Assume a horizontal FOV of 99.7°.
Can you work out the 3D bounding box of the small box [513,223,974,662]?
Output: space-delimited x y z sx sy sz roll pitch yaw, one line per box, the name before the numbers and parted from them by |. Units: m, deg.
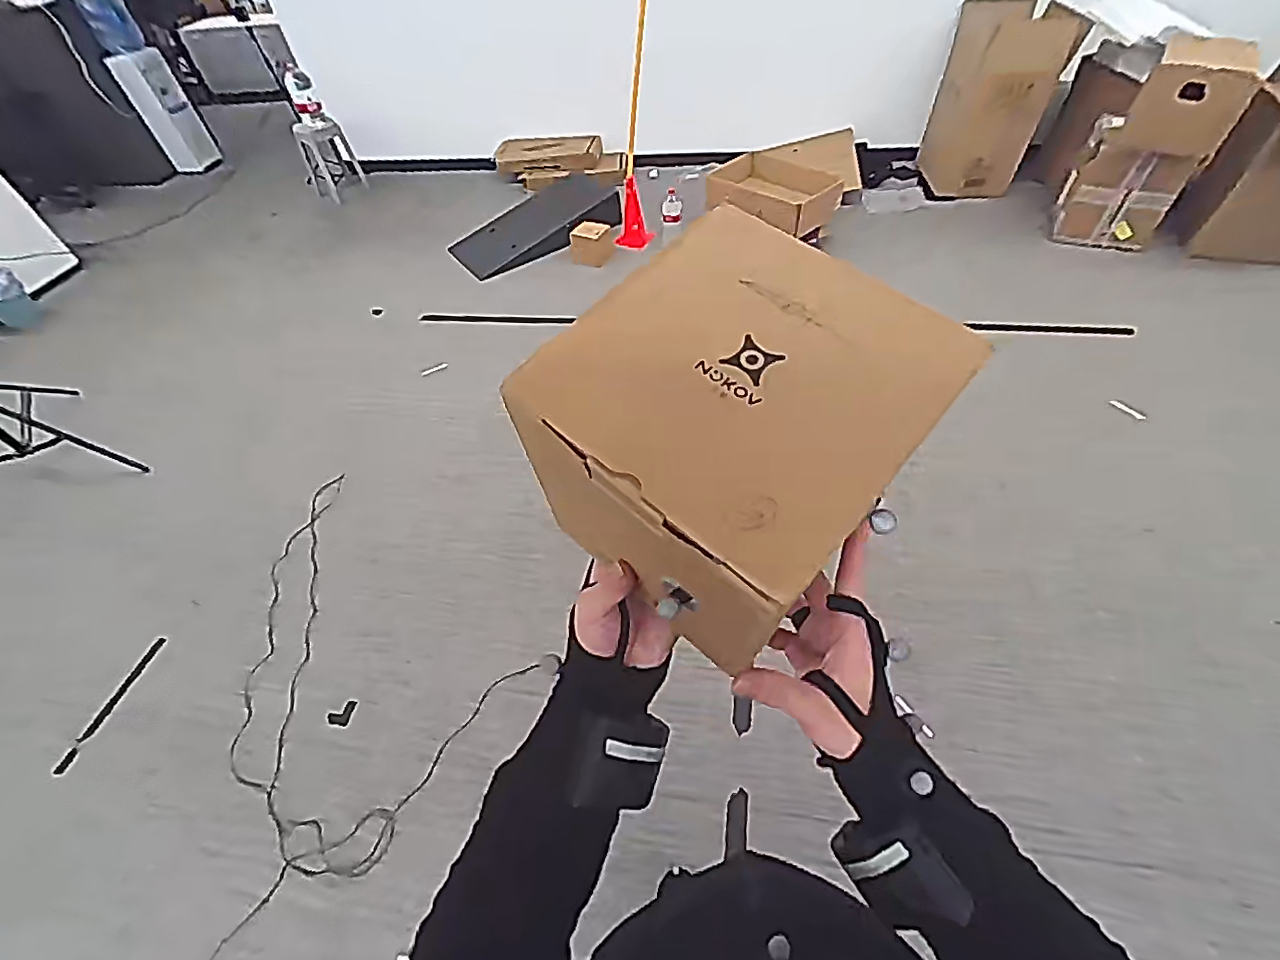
small box | 0.054 -0.012 0.339 0.168 0.176 0.179 38 69 19
